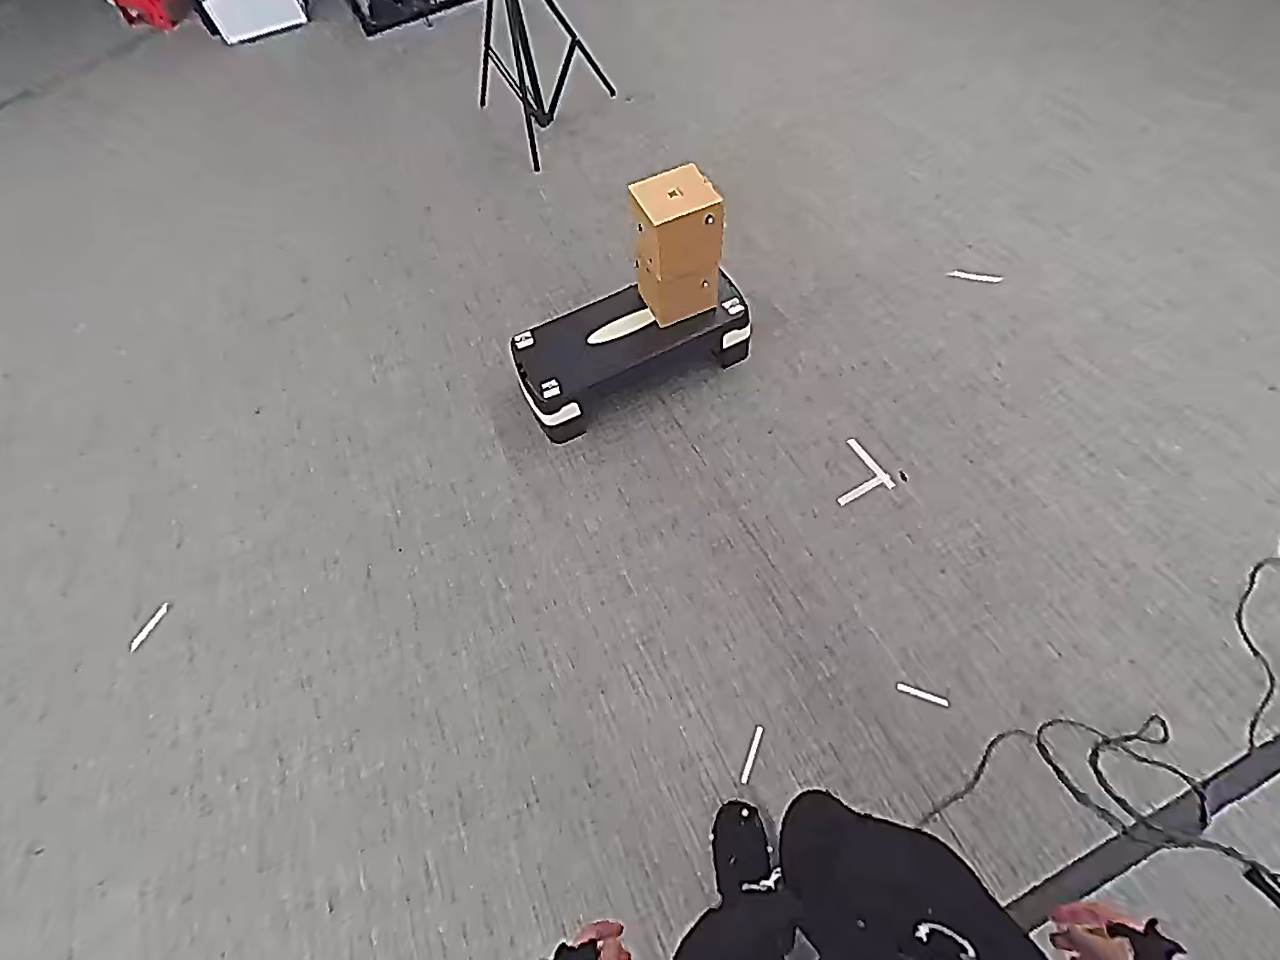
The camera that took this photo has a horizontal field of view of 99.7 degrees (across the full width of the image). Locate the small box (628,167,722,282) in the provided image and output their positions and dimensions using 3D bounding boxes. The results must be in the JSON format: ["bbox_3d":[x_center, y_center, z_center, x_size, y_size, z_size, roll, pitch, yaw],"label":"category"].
[{"bbox_3d":[0.089,-0.620,1.327,0.179,0.176,0.168,-23,62,-7],"label":"small box"}]

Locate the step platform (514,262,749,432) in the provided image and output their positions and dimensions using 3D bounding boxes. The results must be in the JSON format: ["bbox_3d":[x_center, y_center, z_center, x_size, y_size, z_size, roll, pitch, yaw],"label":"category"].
[{"bbox_3d":[-0.023,-0.416,1.614,0.684,0.204,0.286,-26,62,-7],"label":"step platform"}]
